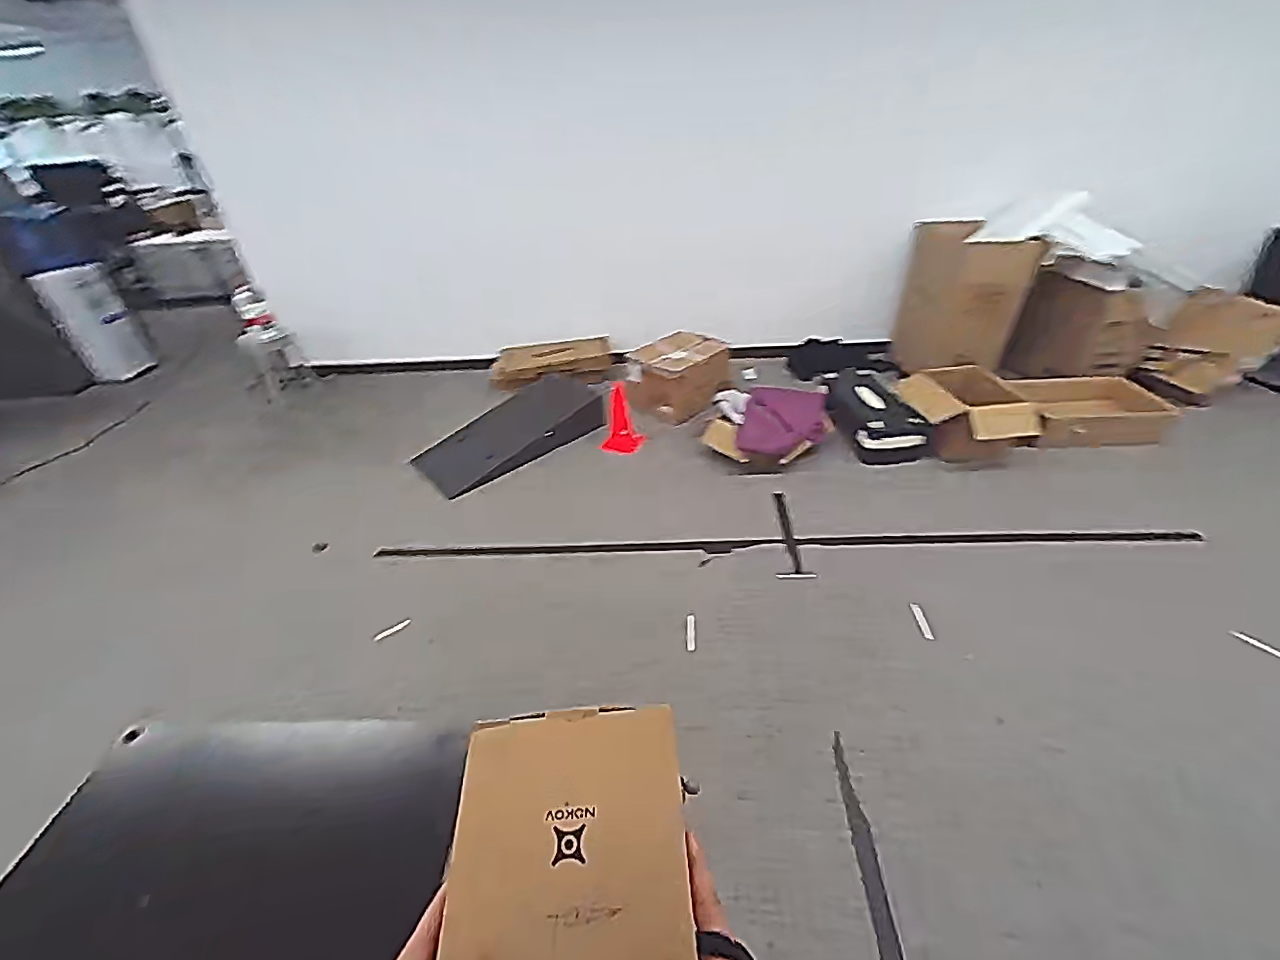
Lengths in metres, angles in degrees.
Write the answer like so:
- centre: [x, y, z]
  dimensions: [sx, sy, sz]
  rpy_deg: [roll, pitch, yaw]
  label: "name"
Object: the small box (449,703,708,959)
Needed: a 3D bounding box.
- centre: [-0.034, 0.304, 0.441]
  dimensions: [0.168, 0.176, 0.179]
  rpy_deg: [-5, 47, 3]
  label: "small box"
